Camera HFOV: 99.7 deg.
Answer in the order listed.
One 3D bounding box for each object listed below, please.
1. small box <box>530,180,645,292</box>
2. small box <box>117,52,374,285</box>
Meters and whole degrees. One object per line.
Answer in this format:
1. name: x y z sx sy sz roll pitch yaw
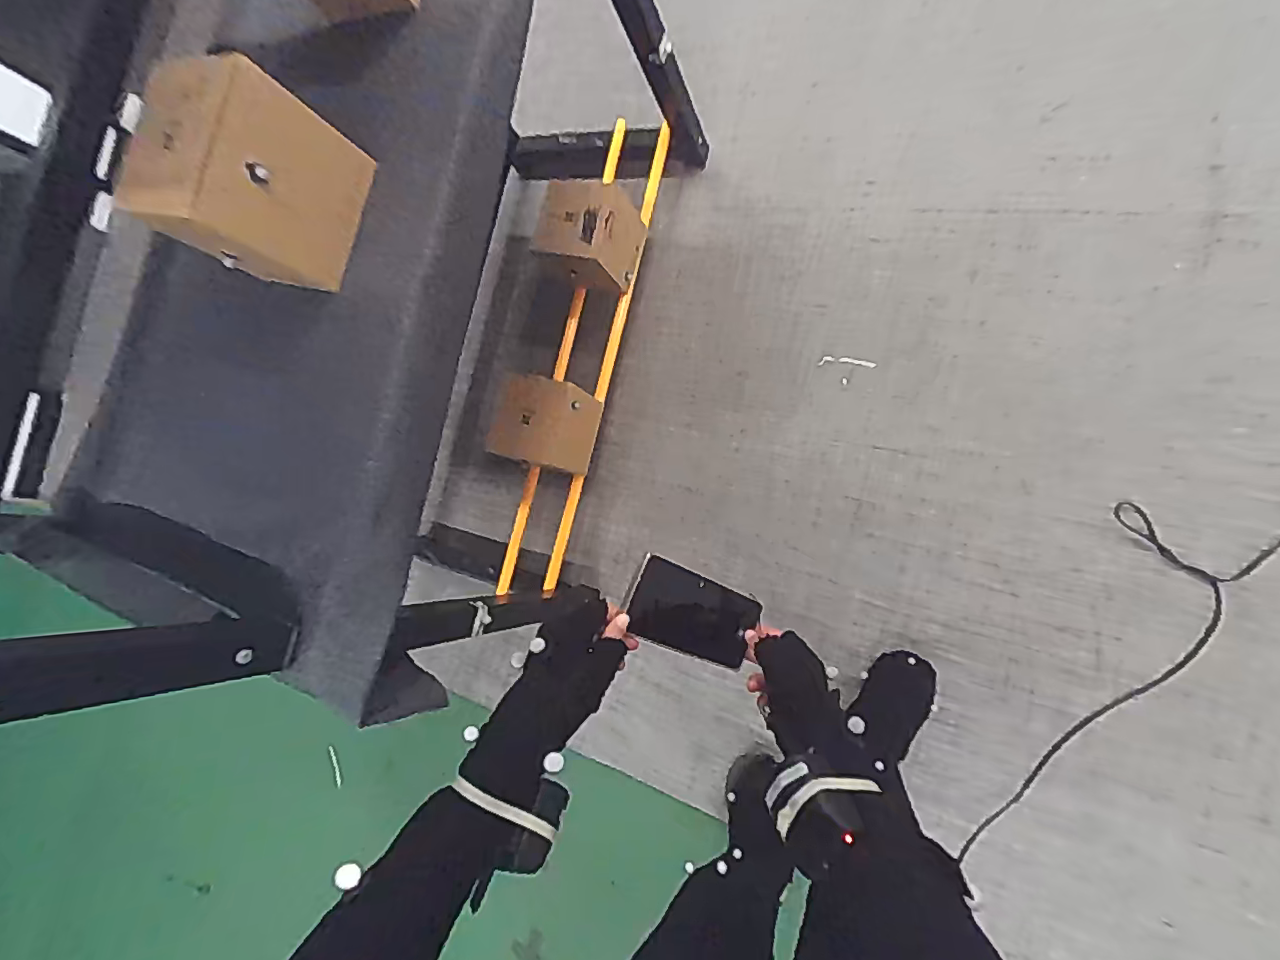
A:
1. small box: -0.110 -0.537 1.207 0.179 0.176 0.168 17 89 23
2. small box: -0.453 -0.353 0.641 0.168 0.176 0.179 16 88 23
